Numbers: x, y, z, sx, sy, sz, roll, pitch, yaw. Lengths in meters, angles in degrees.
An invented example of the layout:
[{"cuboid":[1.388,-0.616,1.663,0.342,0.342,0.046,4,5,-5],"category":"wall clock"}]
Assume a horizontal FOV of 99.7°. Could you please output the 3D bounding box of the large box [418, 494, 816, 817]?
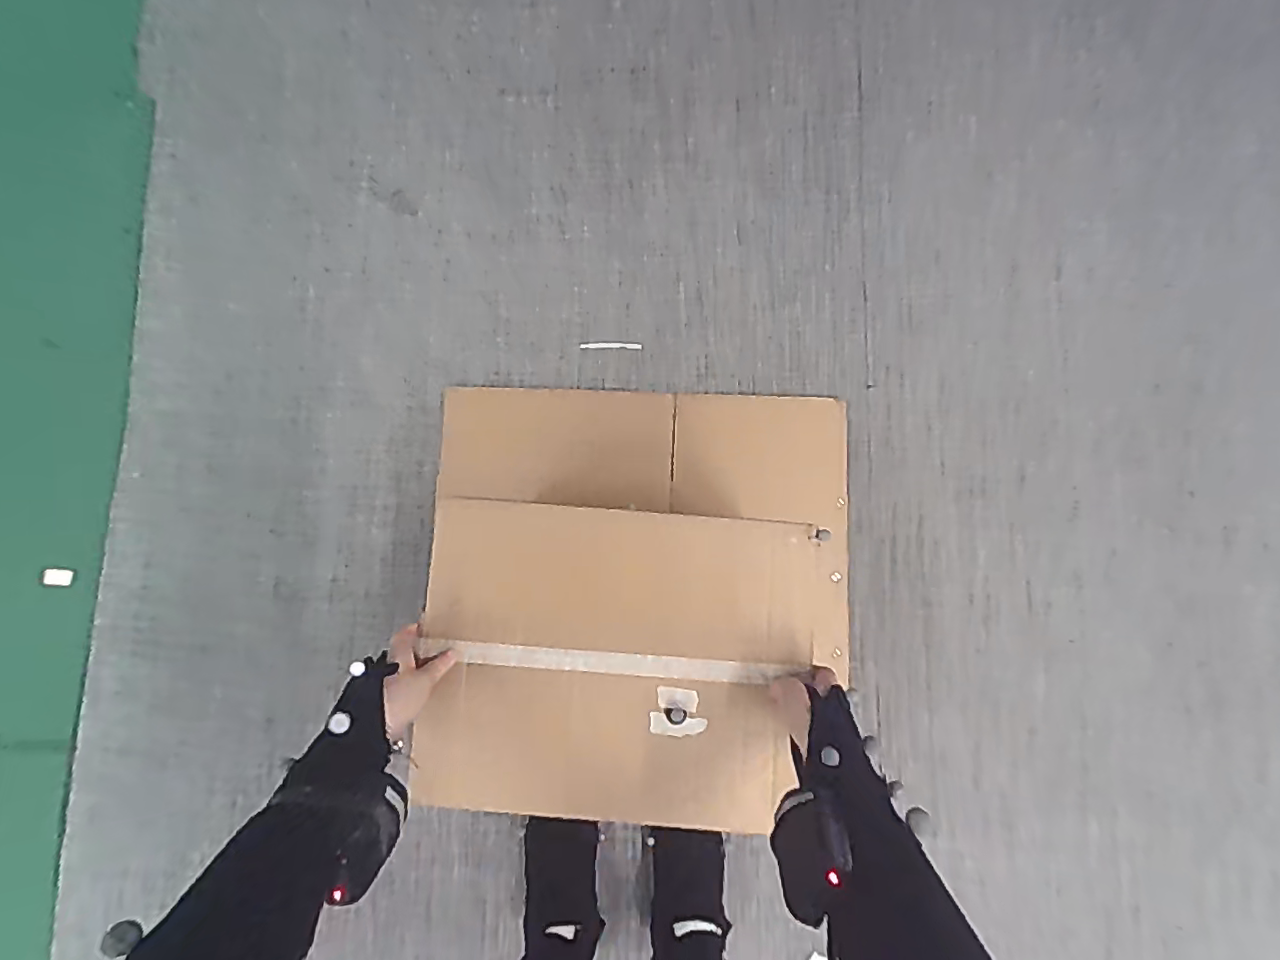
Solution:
[{"cuboid":[-0.022,0.196,0.709,0.408,0.320,0.320,4,85,0],"category":"large box"}]
